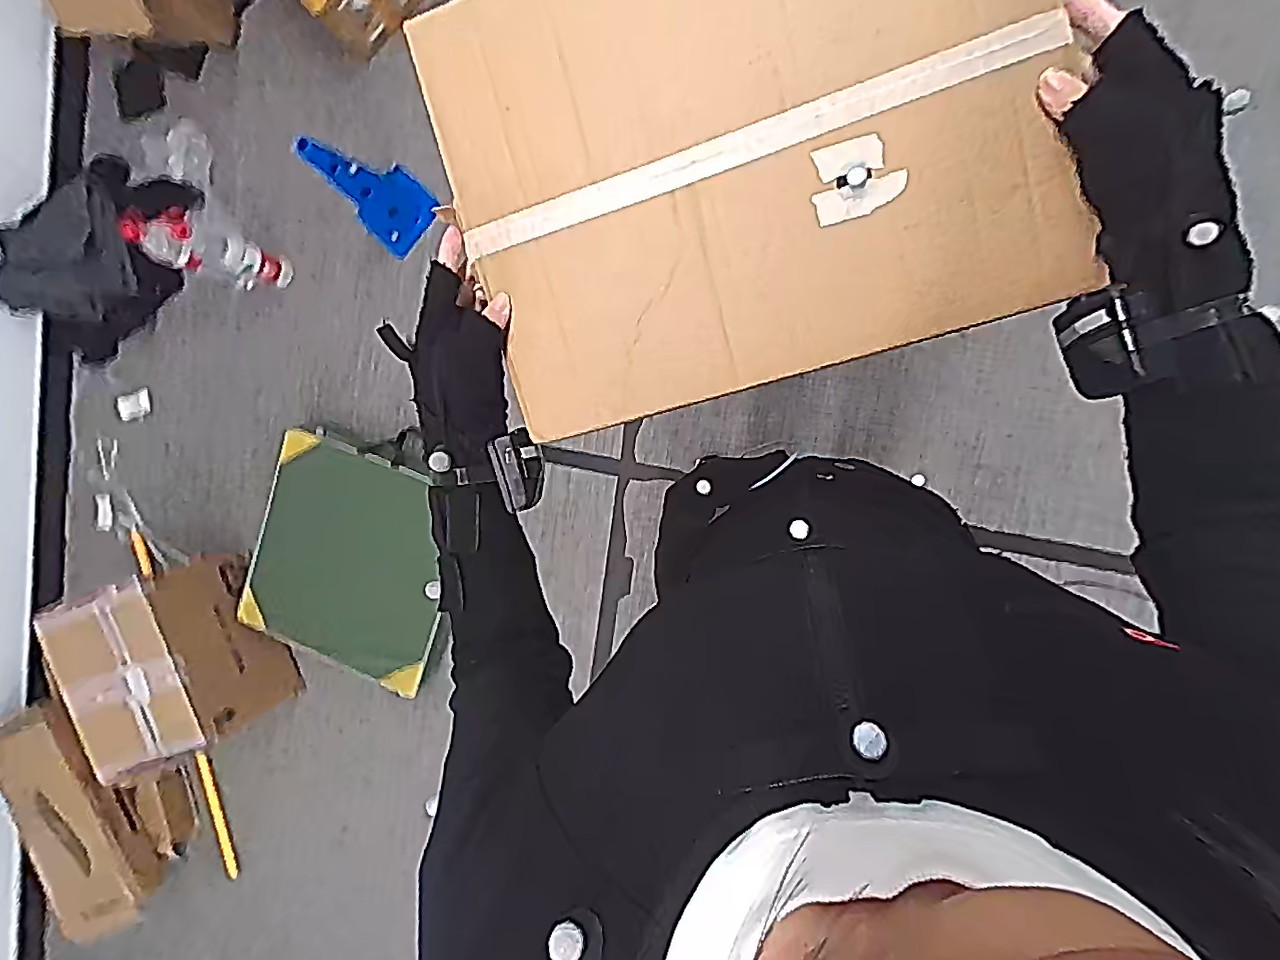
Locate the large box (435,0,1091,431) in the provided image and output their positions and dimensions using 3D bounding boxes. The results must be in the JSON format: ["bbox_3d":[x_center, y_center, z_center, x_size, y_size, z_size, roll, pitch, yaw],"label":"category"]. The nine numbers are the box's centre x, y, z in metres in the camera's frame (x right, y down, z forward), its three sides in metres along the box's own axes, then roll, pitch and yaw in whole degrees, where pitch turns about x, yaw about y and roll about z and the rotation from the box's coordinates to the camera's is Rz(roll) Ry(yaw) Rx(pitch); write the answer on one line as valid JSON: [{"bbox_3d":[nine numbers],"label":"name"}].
[{"bbox_3d":[0.095,-0.255,0.524,0.408,0.320,0.320,-14,98,10],"label":"large box"}]
